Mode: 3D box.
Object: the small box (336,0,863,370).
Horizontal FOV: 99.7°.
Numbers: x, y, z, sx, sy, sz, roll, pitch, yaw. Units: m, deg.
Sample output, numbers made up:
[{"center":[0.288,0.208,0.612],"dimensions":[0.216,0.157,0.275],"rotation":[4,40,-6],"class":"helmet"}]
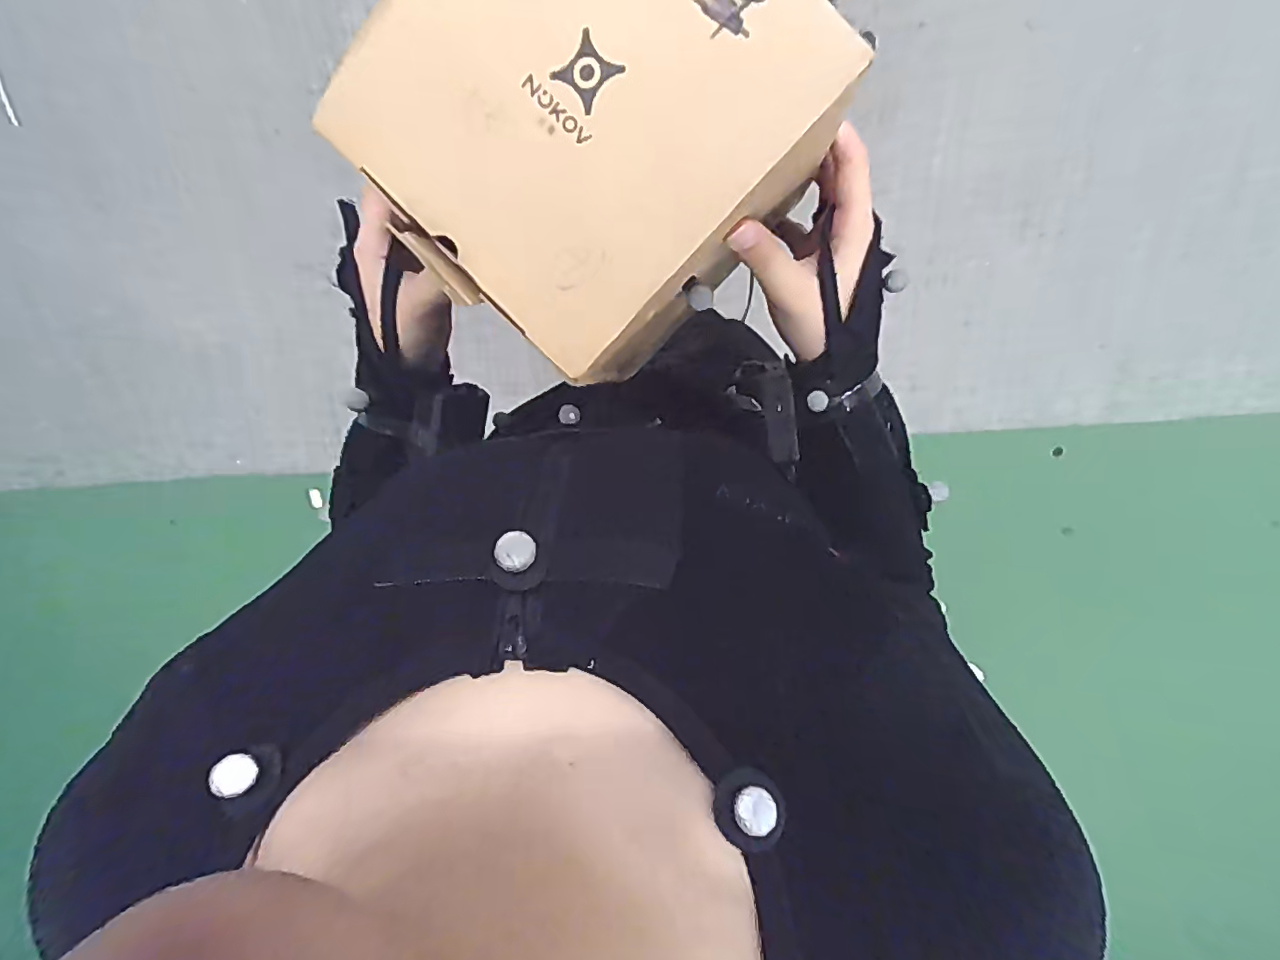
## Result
[{"center":[-0.013,-0.179,0.306],"dimensions":[0.168,0.176,0.179],"rotation":[45,104,-2],"class":"small box"}]
